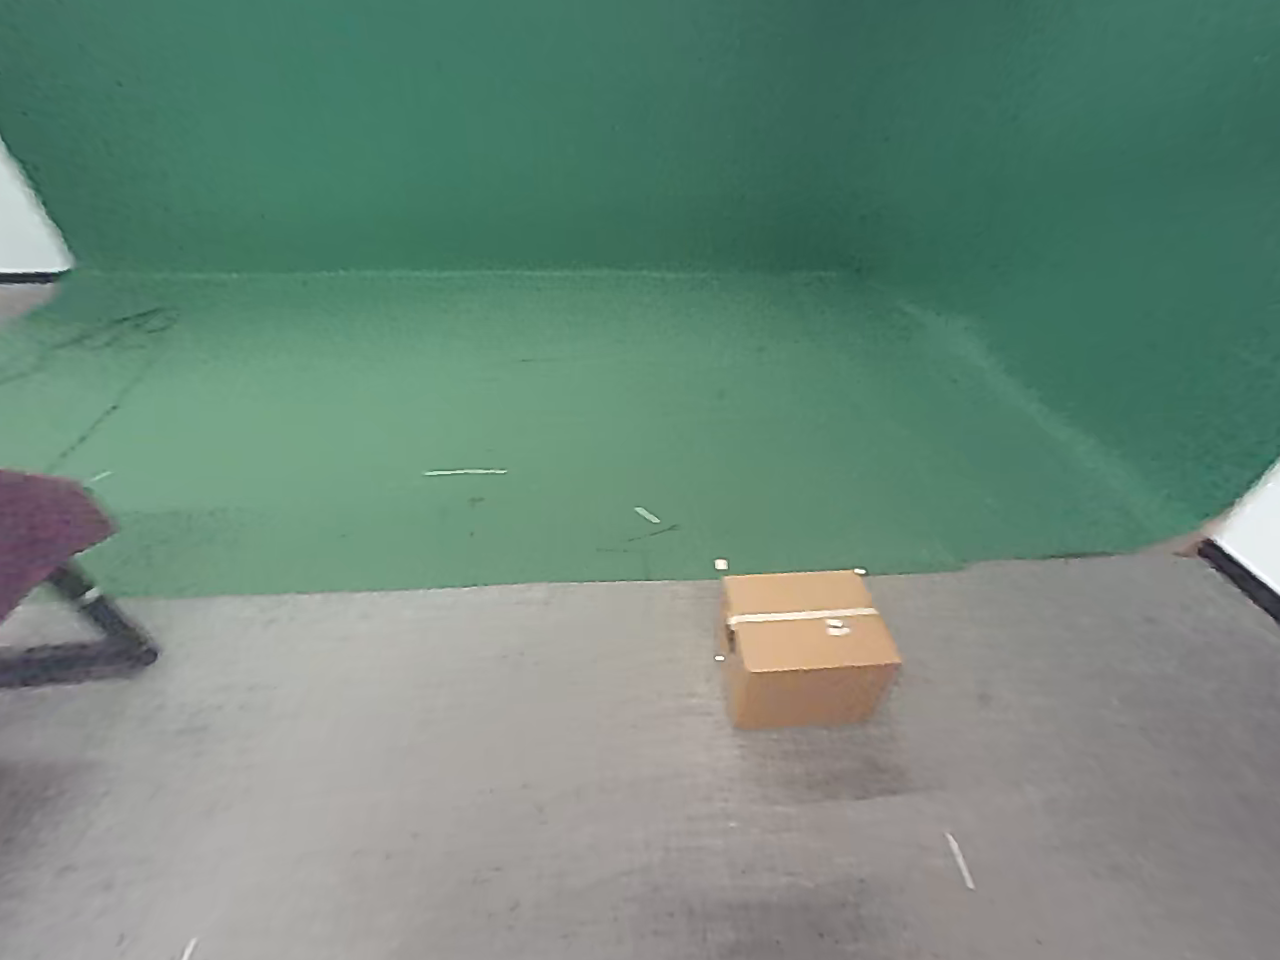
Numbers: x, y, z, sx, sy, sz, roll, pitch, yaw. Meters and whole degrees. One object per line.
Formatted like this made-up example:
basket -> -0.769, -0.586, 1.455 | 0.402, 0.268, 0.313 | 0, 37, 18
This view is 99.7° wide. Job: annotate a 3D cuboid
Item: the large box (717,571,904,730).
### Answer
large box -> 0.460, 0.489, 1.559 | 0.408, 0.320, 0.320 | -2, 39, -4
